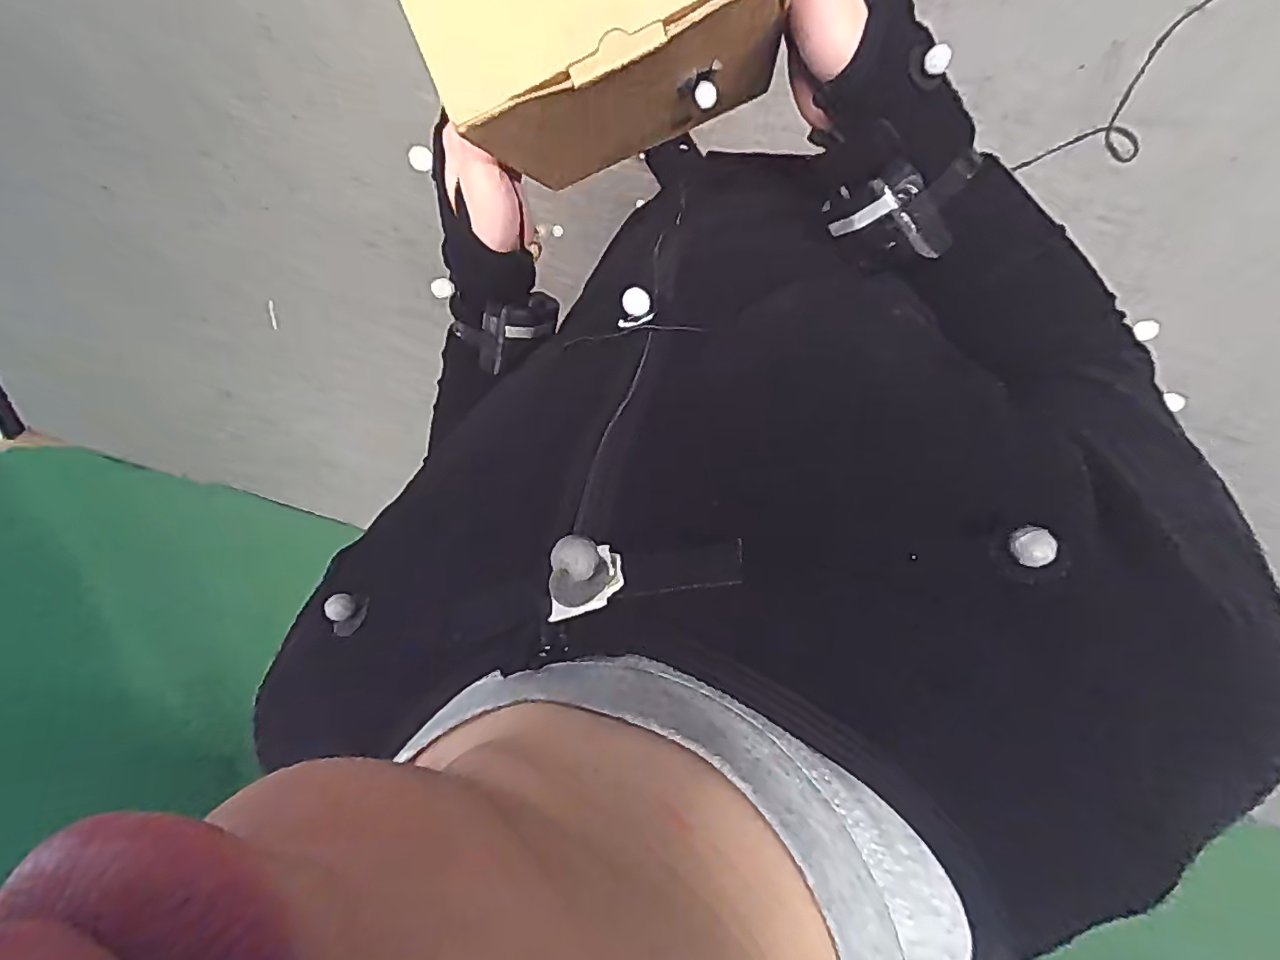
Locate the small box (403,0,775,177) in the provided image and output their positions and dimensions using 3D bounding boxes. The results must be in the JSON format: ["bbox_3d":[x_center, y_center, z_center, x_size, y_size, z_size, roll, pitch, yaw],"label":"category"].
[{"bbox_3d":[-0.028,-0.288,0.291,0.168,0.176,0.179,-17,105,13],"label":"small box"}]
